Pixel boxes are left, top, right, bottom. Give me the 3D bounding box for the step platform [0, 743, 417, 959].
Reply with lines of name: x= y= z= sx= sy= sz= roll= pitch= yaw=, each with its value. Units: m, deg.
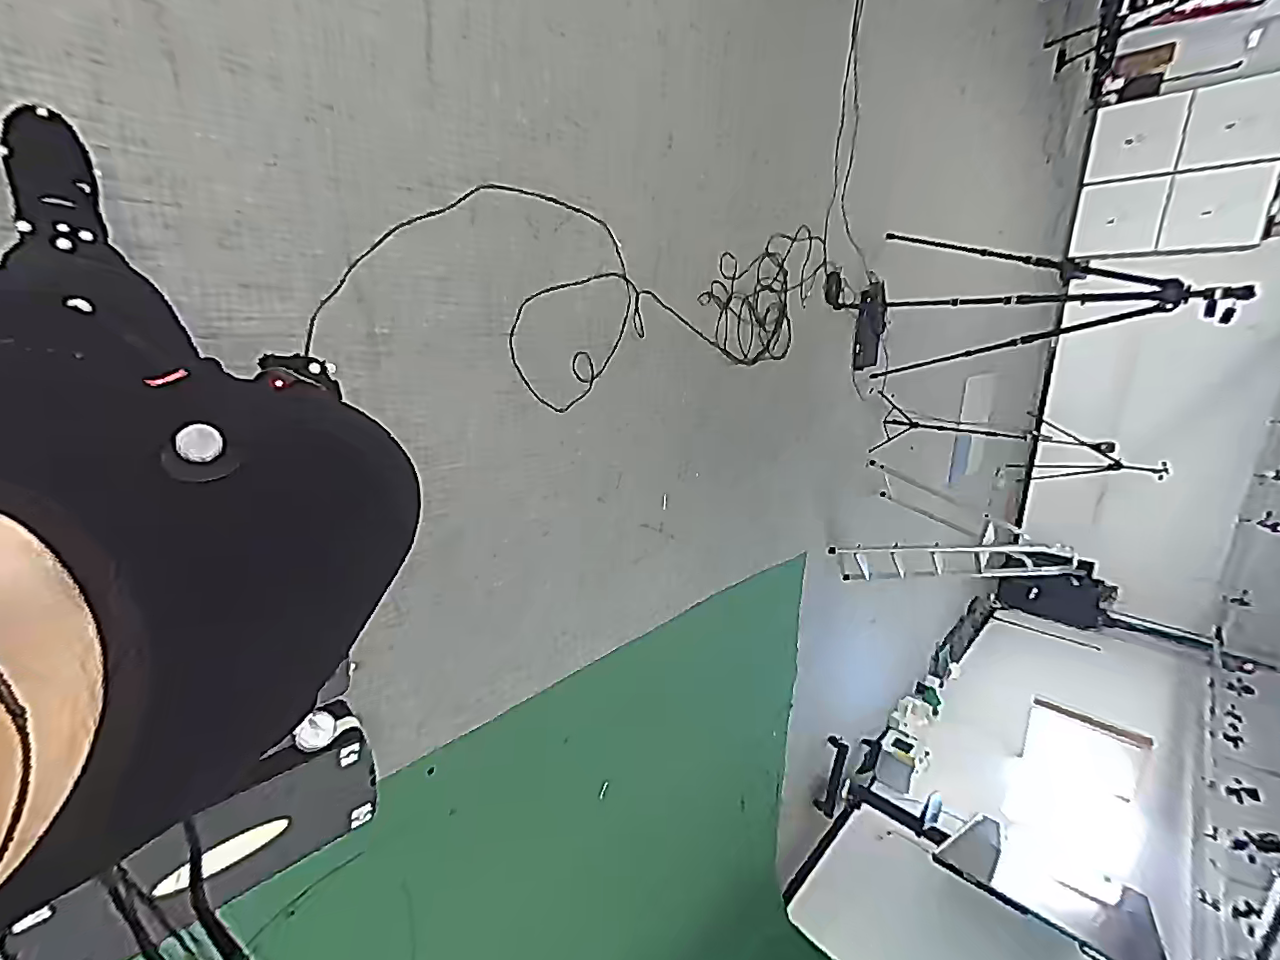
step platform: x=-0.860 y=0.879 z=1.165 sx=0.684 sy=0.204 sz=0.286 roll=-16 pitch=112 yaw=-45
